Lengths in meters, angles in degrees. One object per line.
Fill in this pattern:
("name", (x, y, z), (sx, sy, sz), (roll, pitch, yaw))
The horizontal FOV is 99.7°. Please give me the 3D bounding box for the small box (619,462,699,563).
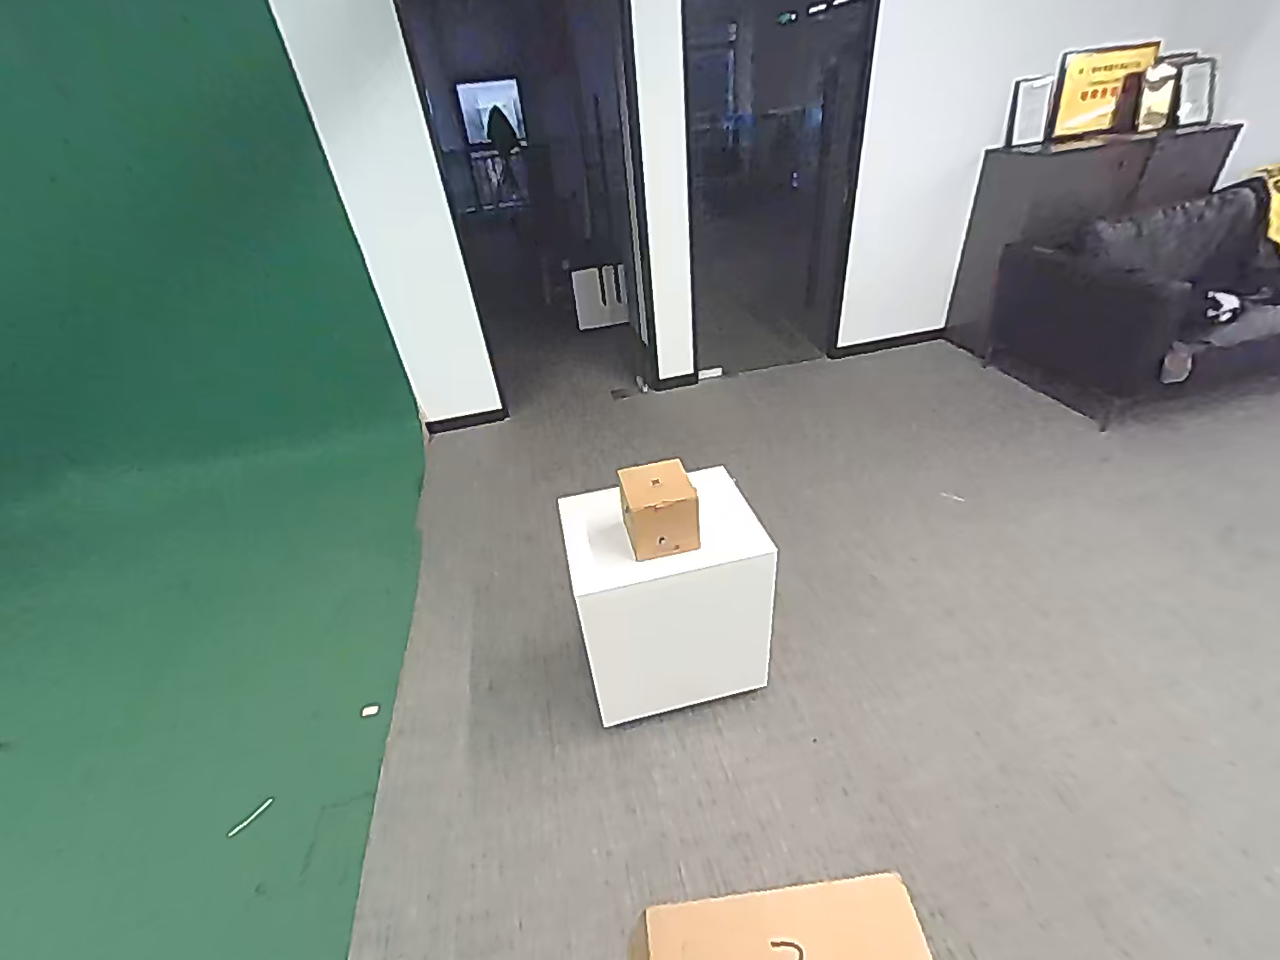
("small box", (0.046, 0.080, 1.357), (0.168, 0.176, 0.179), (-11, 34, -8))
